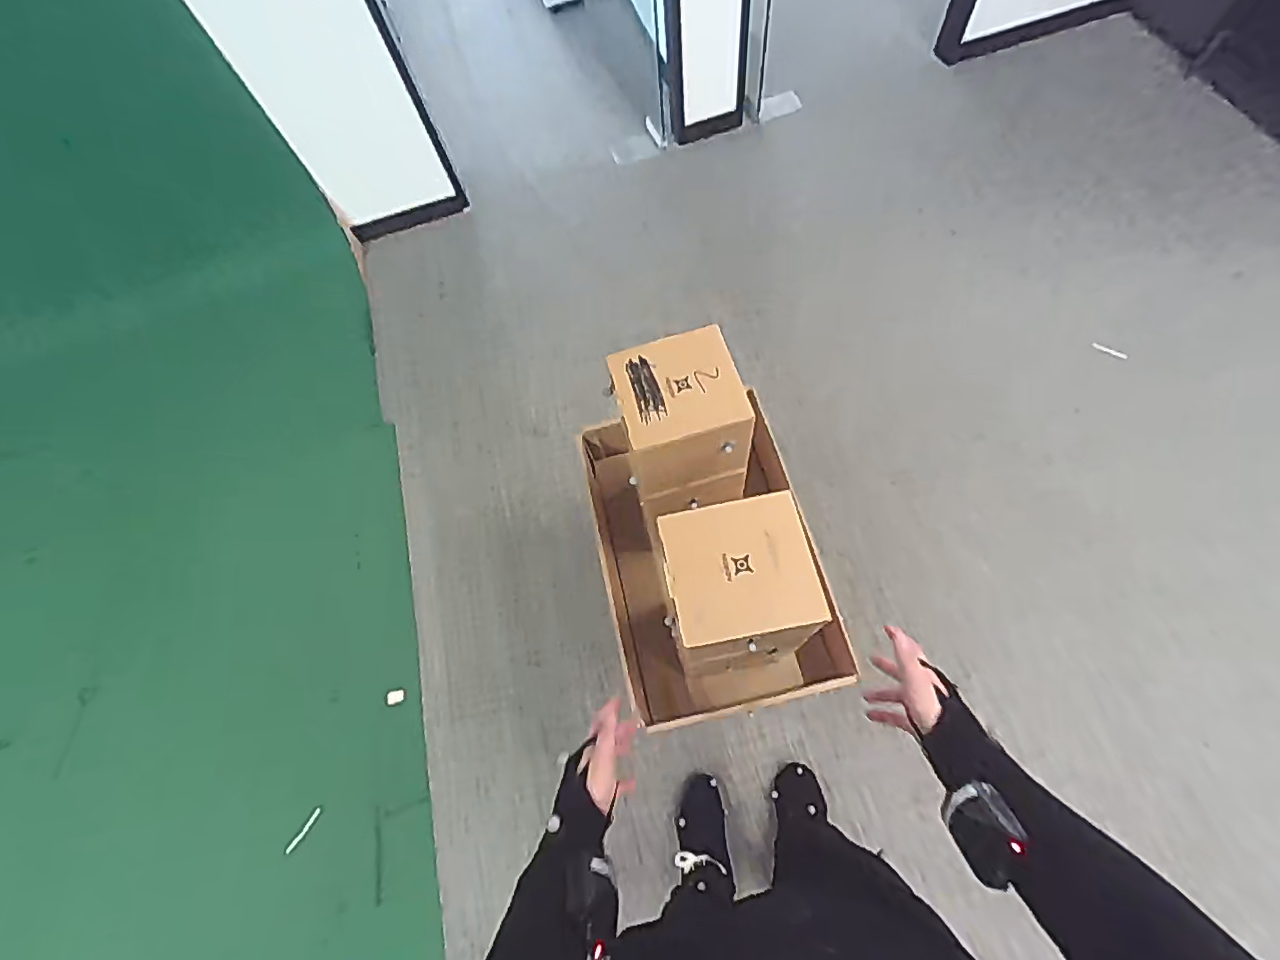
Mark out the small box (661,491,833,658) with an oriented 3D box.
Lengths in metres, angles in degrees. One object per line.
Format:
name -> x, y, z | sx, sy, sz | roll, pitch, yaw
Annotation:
small box -> 0.131, 0.133, 0.716 | 0.179, 0.176, 0.168 | -11, 66, 1

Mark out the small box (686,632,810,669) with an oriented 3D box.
small box -> 0.150, 0.199, 0.864 | 0.179, 0.176, 0.168 | -12, 65, 2

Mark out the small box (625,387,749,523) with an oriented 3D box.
small box -> 0.083, -0.038, 0.976 | 0.179, 0.176, 0.168 | -16, 67, 1
